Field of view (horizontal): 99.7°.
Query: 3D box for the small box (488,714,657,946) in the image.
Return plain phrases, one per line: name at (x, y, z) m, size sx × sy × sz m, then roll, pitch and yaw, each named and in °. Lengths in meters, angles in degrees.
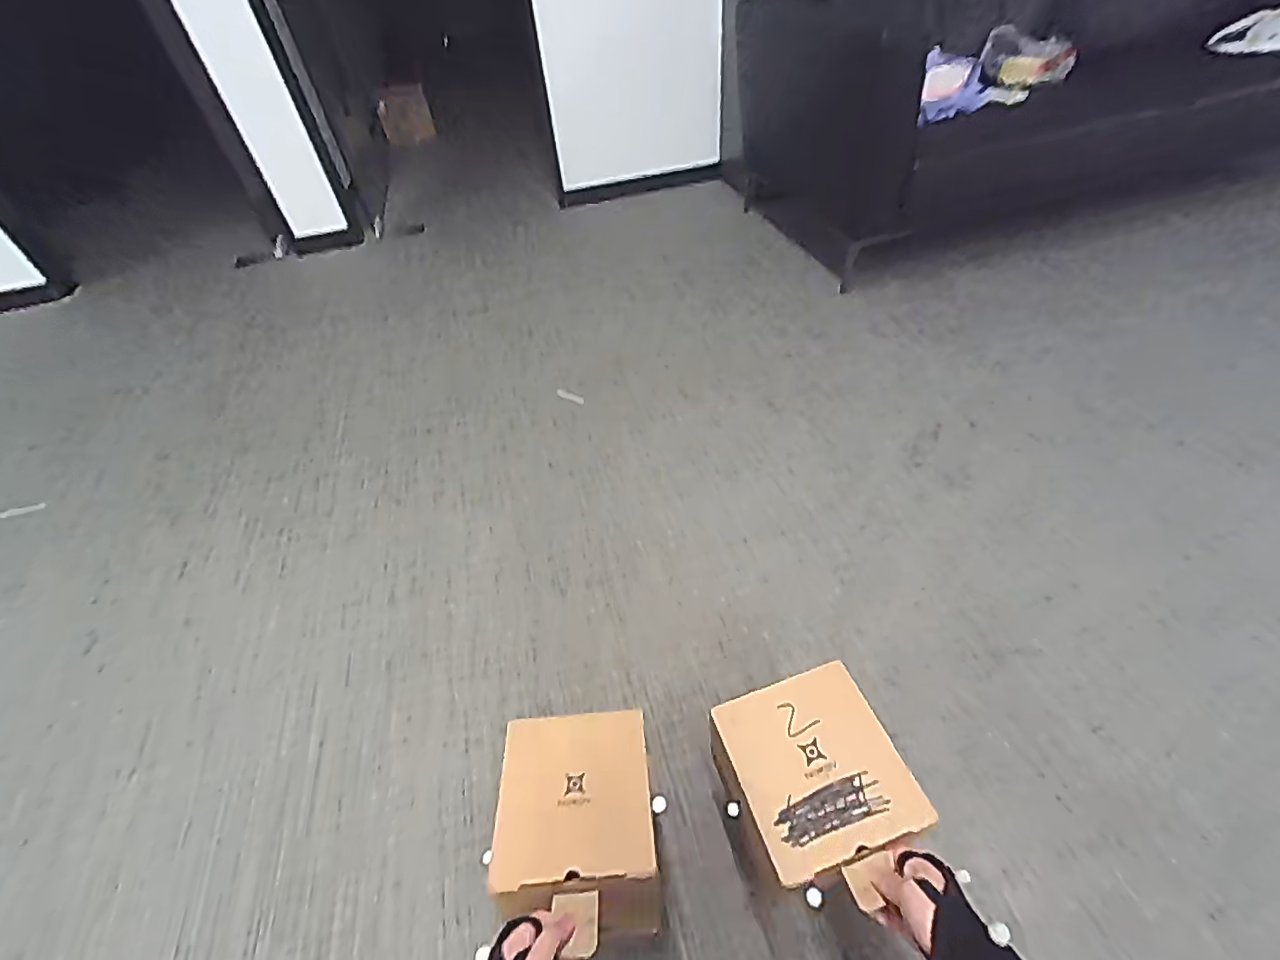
small box at (-0.070, 0.406, 0.634) m, size 0.168 × 0.176 × 0.179 m, roll -4°, pitch 37°, yaw -3°
